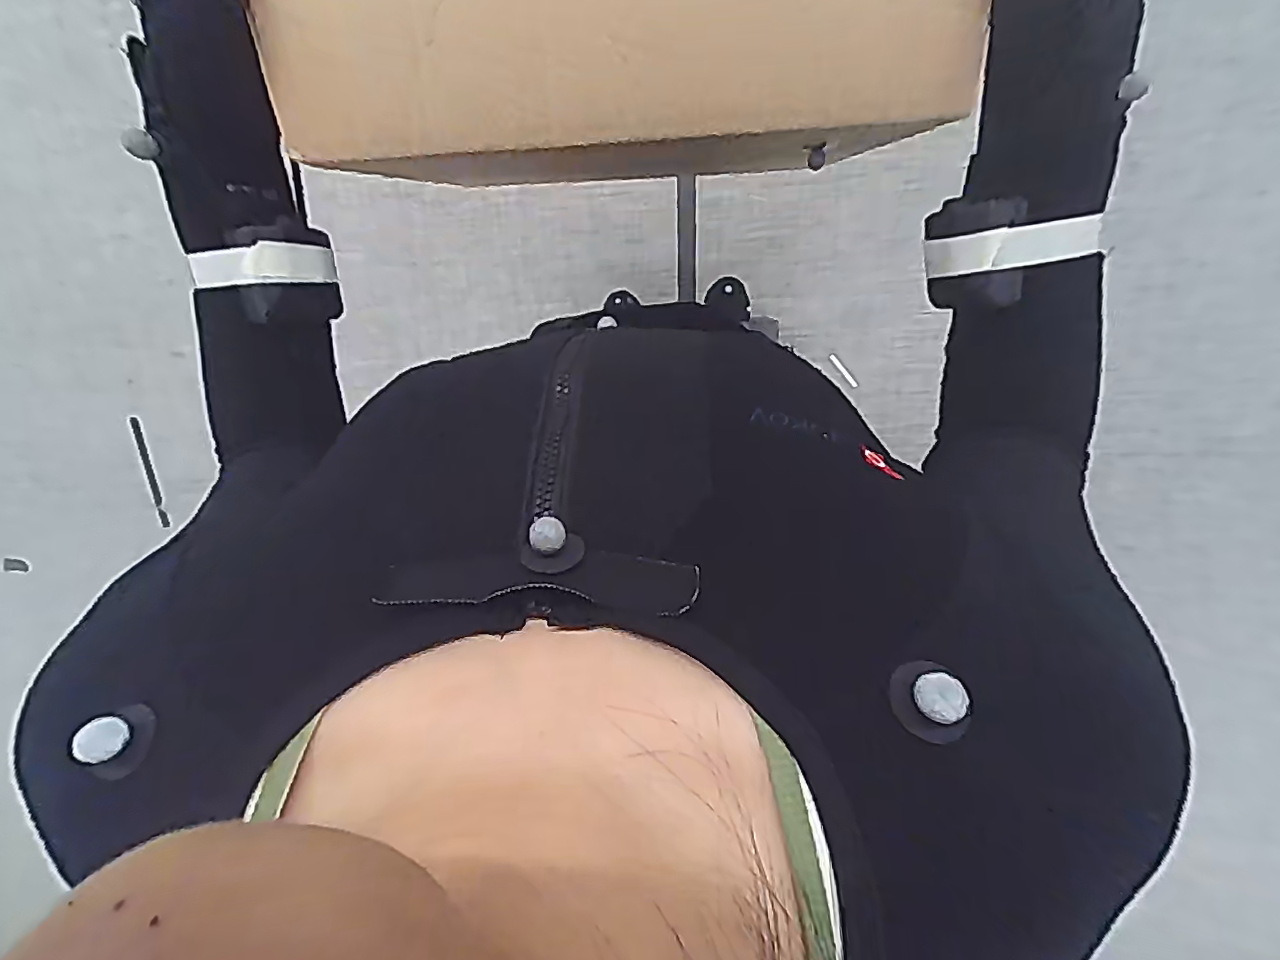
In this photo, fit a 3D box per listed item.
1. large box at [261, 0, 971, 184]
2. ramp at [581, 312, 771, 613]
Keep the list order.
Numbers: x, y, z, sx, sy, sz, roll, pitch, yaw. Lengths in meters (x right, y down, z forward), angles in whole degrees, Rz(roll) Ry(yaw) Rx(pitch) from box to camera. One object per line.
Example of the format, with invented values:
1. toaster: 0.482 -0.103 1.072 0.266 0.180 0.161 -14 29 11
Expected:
1. large box: -0.014 -0.409 0.398 0.408 0.320 0.320 -2 115 3
2. ramp: 0.120 0.018 1.621 0.509 0.206 0.991 -3 109 5
